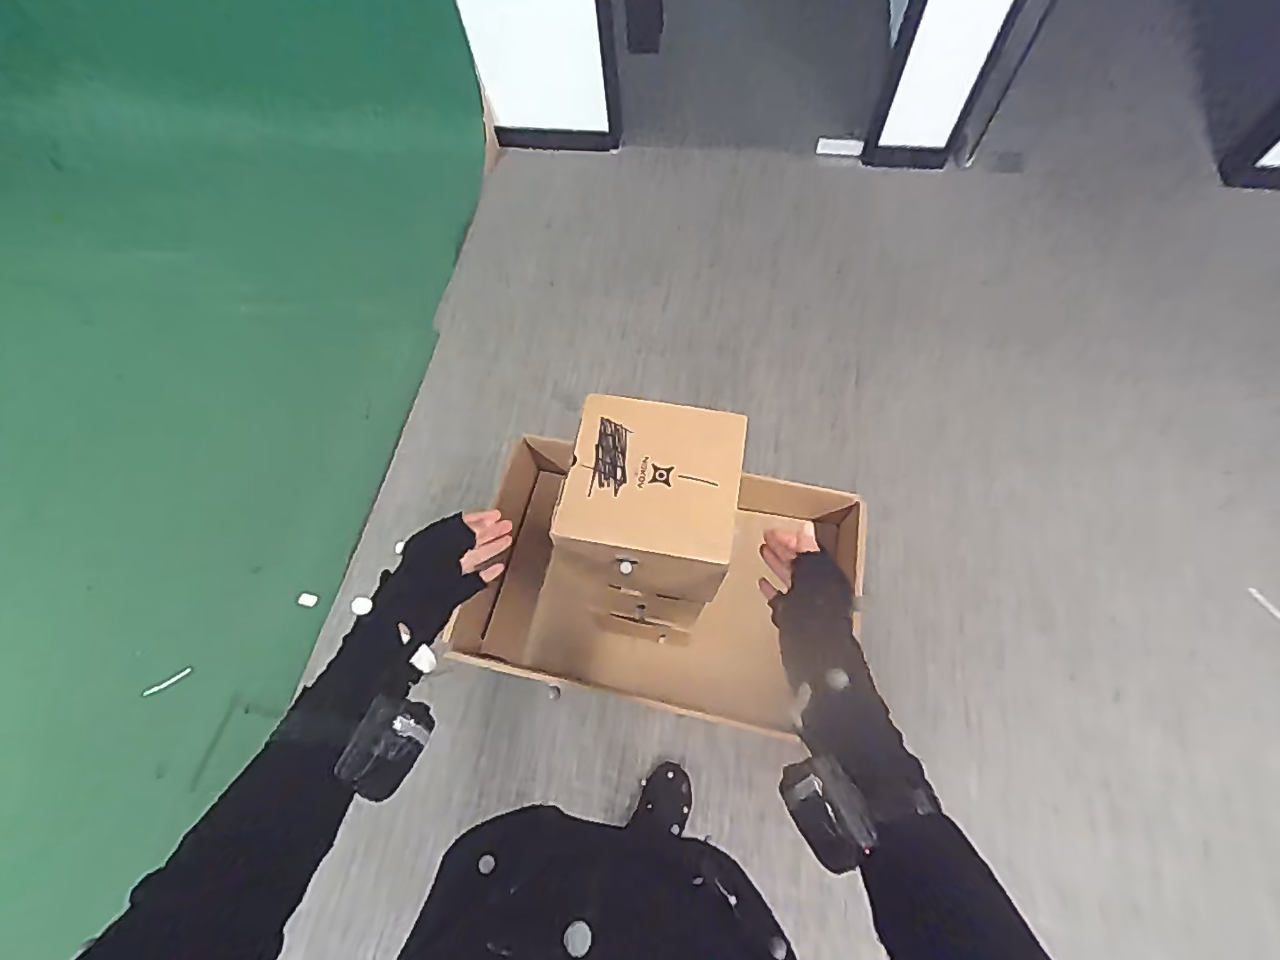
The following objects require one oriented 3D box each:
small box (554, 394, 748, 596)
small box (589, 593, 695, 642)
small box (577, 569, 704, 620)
[{"bbox_3d":[0.016,0.026,0.619,0.179,0.176,0.168,9,66,5],"label":"small box"},{"bbox_3d":[0.021,0.166,0.917,0.168,0.176,0.179,10,65,6],"label":"small box"},{"bbox_3d":[0.020,0.091,0.772,0.168,0.176,0.179,11,67,6],"label":"small box"}]
